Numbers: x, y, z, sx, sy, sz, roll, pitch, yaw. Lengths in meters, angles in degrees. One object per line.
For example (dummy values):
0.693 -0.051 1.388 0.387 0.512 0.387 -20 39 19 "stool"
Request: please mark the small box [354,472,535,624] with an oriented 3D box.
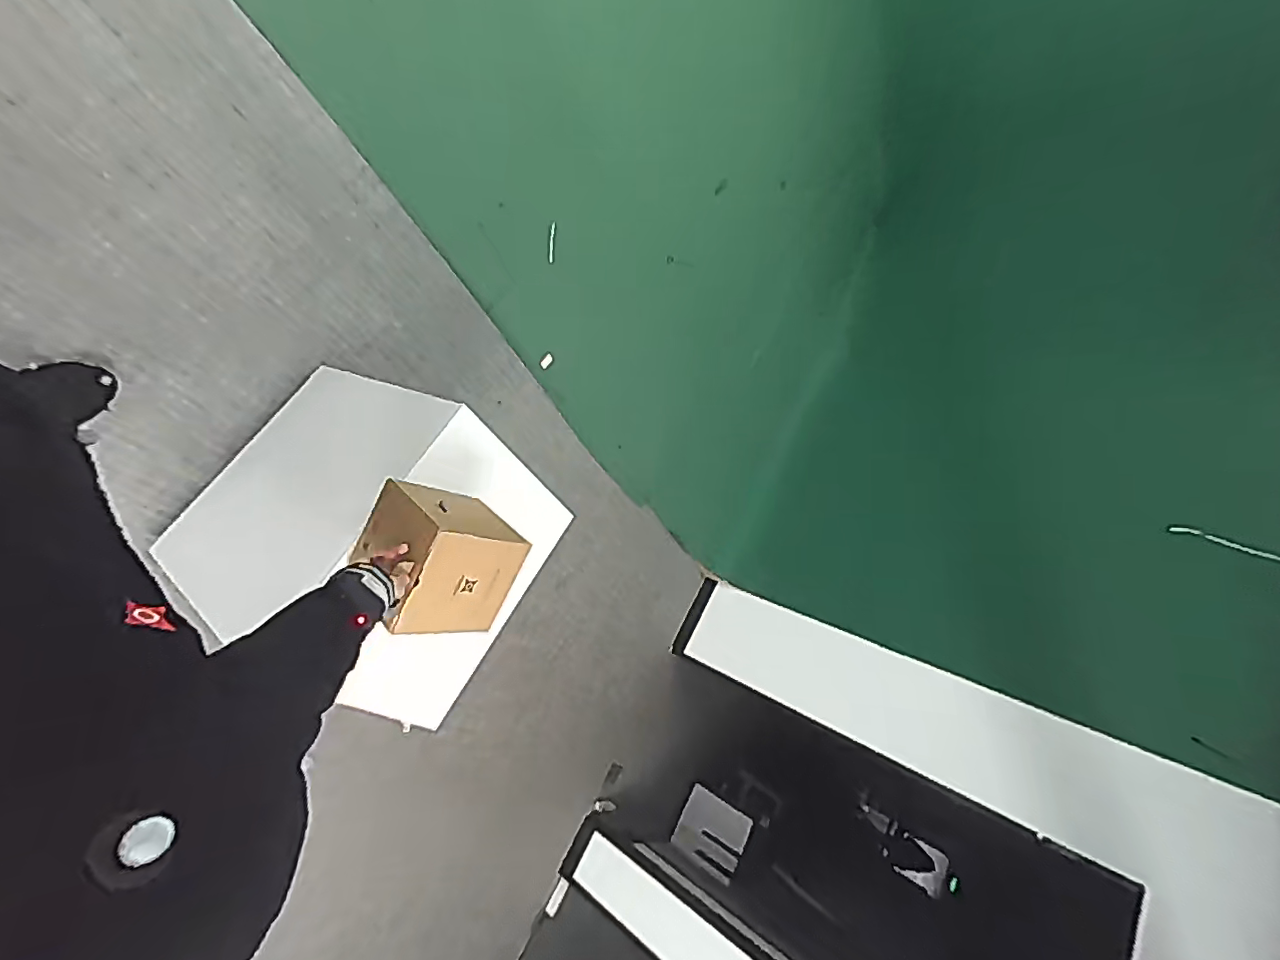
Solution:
-0.303 0.103 0.831 0.179 0.176 0.168 18 103 -55 "small box"
